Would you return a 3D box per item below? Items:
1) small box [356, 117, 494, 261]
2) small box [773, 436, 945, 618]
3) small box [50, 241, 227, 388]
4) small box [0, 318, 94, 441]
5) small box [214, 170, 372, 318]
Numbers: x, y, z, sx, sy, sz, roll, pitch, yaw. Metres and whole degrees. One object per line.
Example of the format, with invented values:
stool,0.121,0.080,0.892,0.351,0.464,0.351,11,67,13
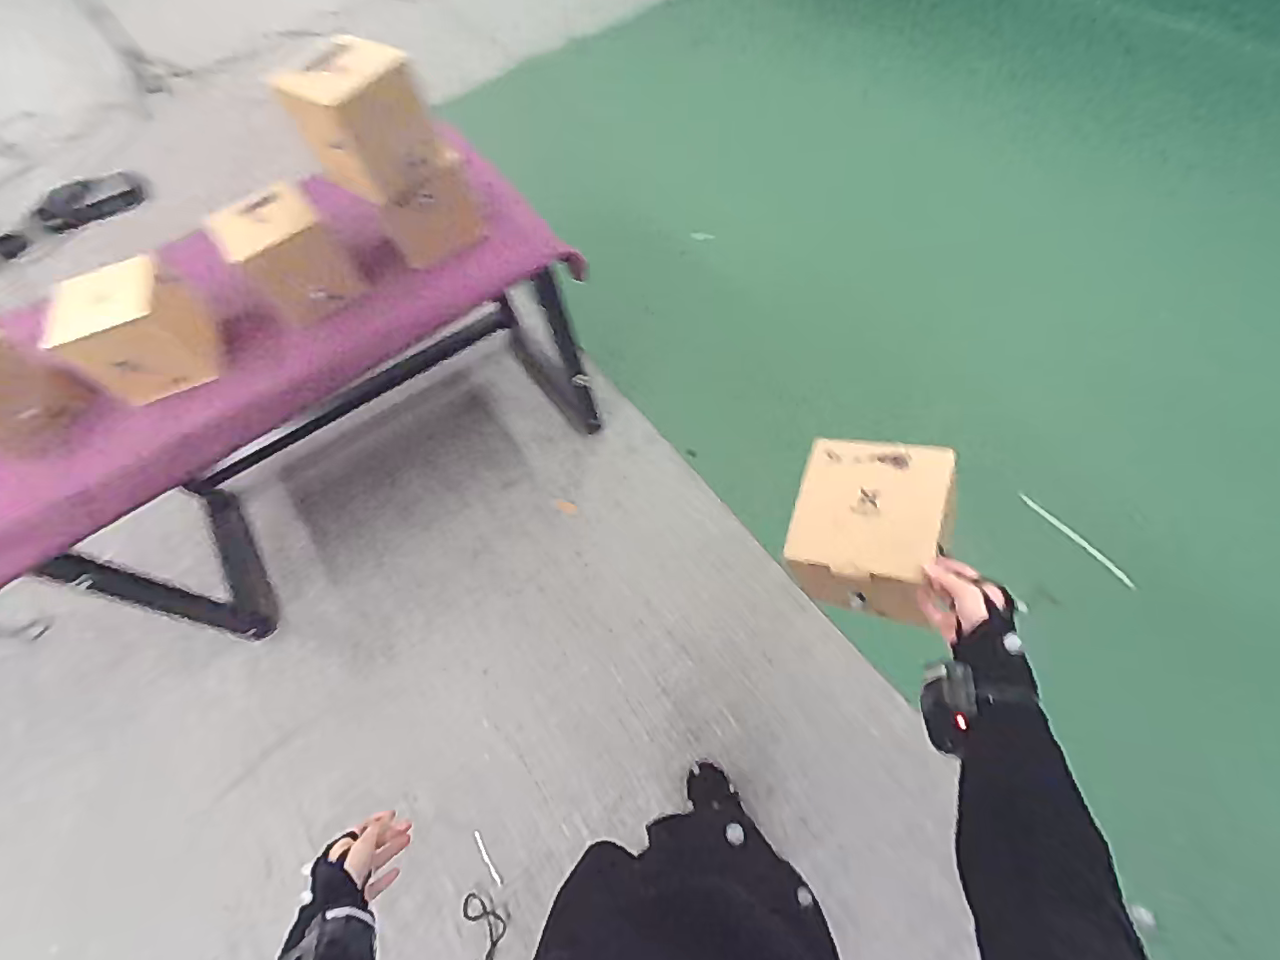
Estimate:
small box,-0.424,-0.578,1.087,0.179,0.176,0.168,-31,62,-10
small box,0.298,0.064,0.715,0.168,0.176,0.179,9,66,34
small box,-0.897,-0.291,0.987,0.168,0.176,0.179,-22,61,-5
small box,-1.156,-0.194,0.958,0.179,0.176,0.168,24,67,17
small box,-0.661,-0.451,1.045,0.168,0.176,0.179,-36,65,-13
